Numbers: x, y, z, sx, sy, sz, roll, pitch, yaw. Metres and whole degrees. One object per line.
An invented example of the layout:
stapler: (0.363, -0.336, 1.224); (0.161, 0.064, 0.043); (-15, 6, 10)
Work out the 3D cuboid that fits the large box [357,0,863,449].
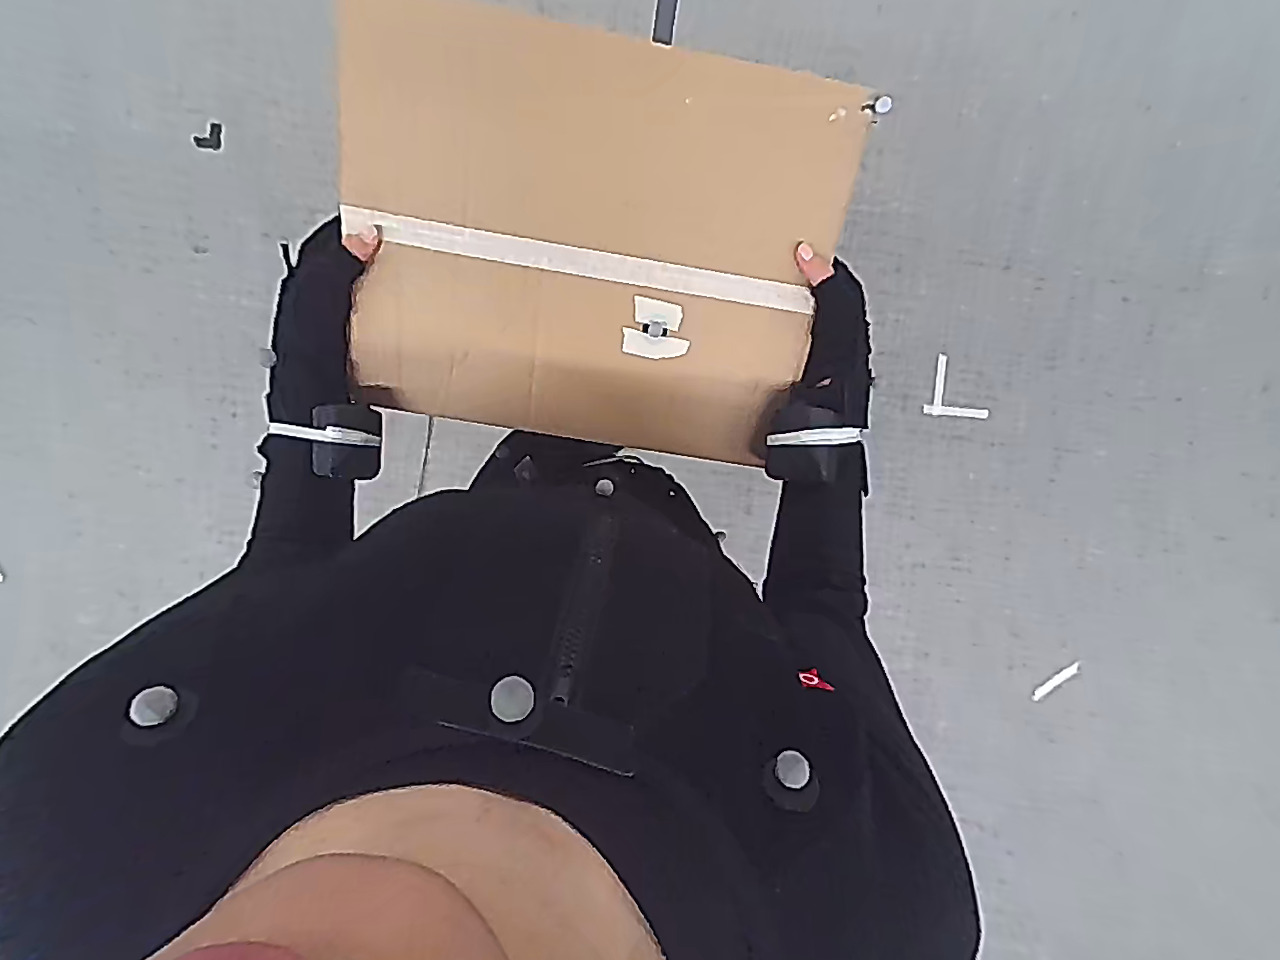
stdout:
large box: (-0.042, -0.252, 0.609); (0.408, 0.320, 0.320); (9, 113, -4)
